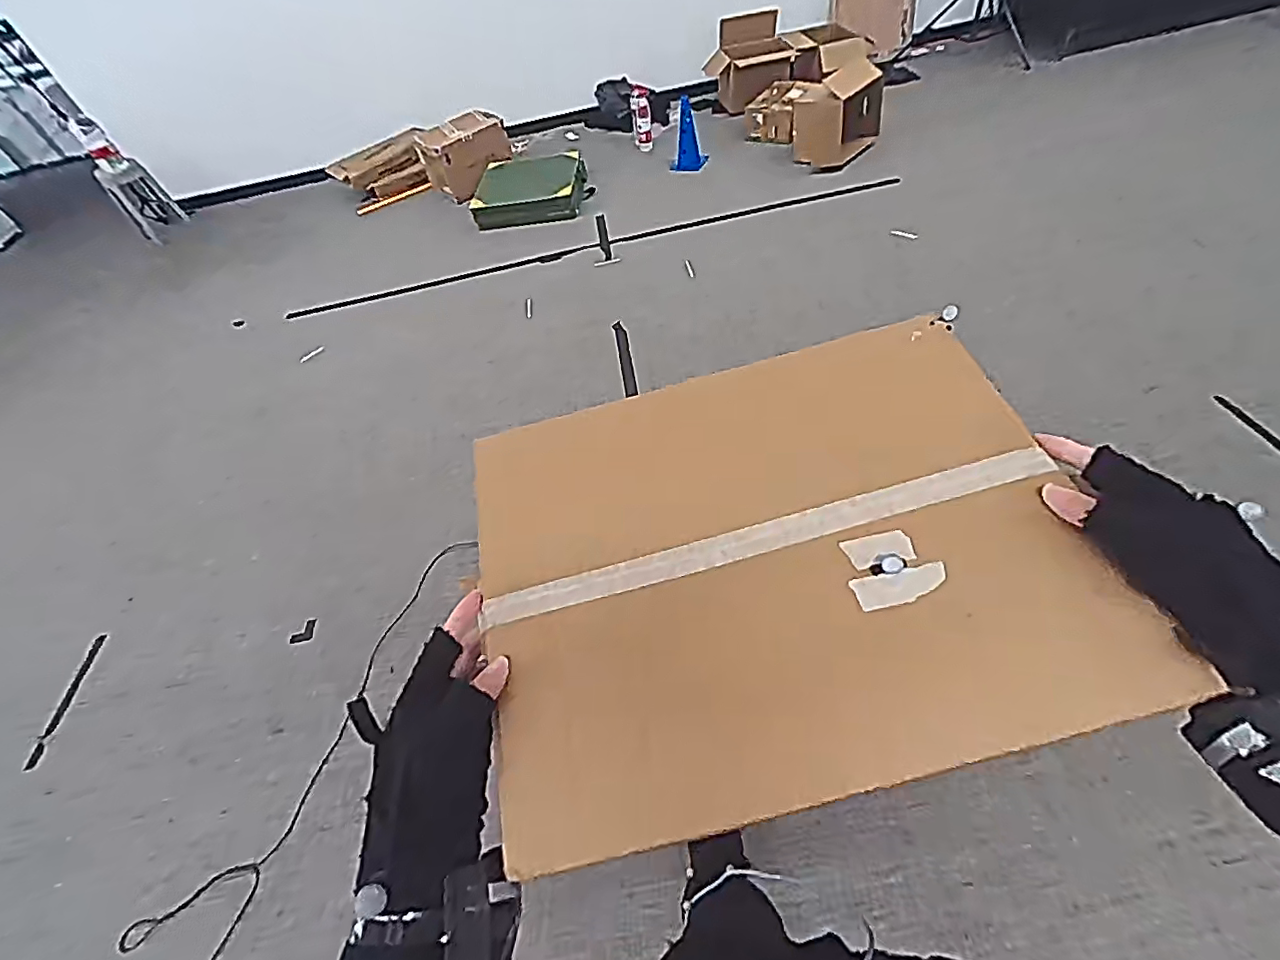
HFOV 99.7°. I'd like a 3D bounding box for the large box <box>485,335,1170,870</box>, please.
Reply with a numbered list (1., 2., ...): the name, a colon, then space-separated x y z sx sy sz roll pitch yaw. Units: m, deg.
1. large box: 0.108 0.126 0.519 0.408 0.320 0.320 -15 58 0
